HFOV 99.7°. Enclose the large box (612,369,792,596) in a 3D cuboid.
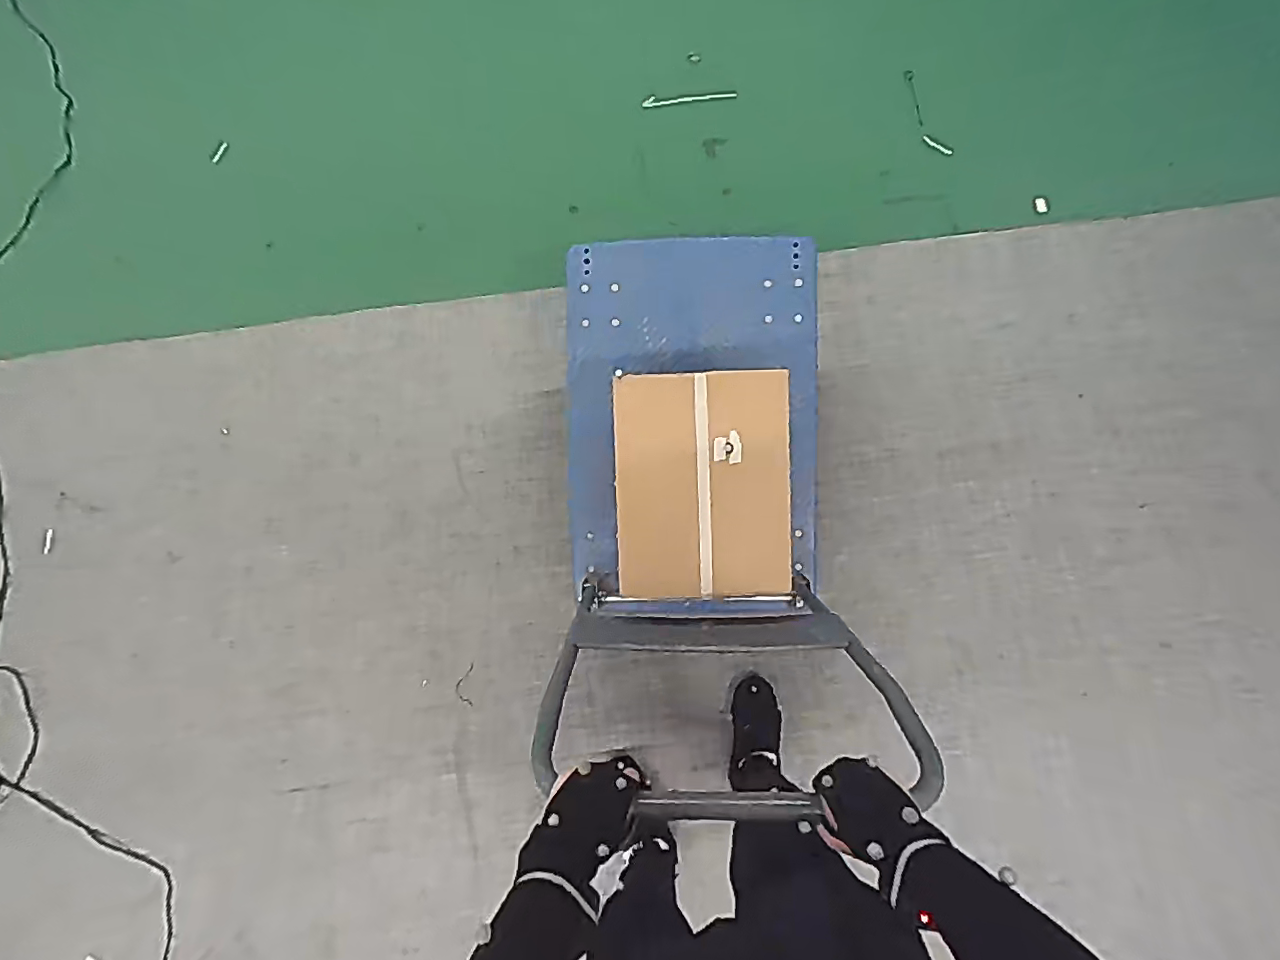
[{"bbox_3d":[0.119,0.005,1.119,0.320,0.320,0.408,-2,91,2],"label":"large box"}]
